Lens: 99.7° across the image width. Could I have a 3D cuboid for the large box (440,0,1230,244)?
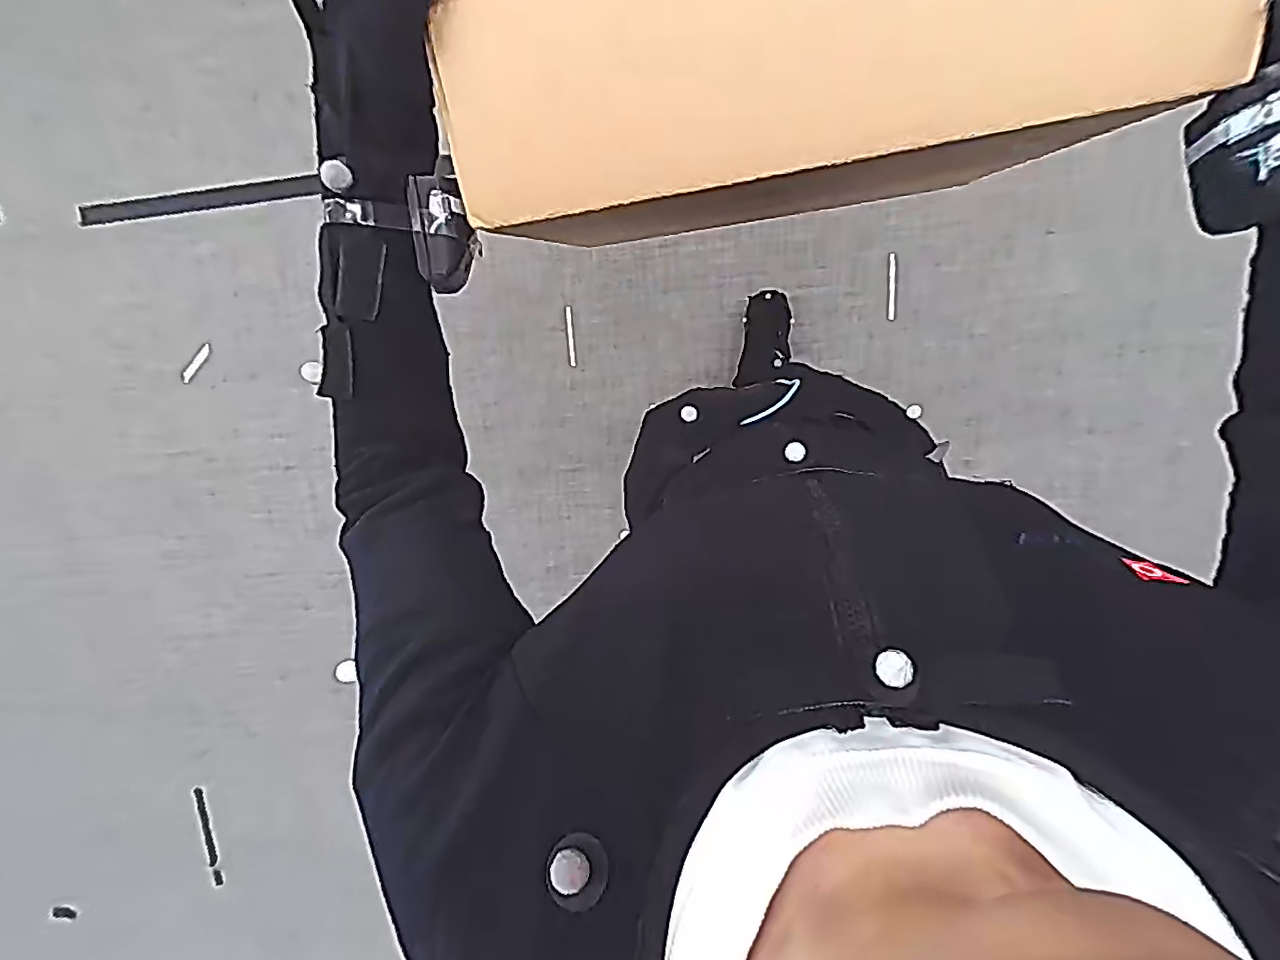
[{"bbox_3d":[0.090,-0.380,0.395,0.408,0.320,0.320,-6,111,9],"label":"large box"}]
